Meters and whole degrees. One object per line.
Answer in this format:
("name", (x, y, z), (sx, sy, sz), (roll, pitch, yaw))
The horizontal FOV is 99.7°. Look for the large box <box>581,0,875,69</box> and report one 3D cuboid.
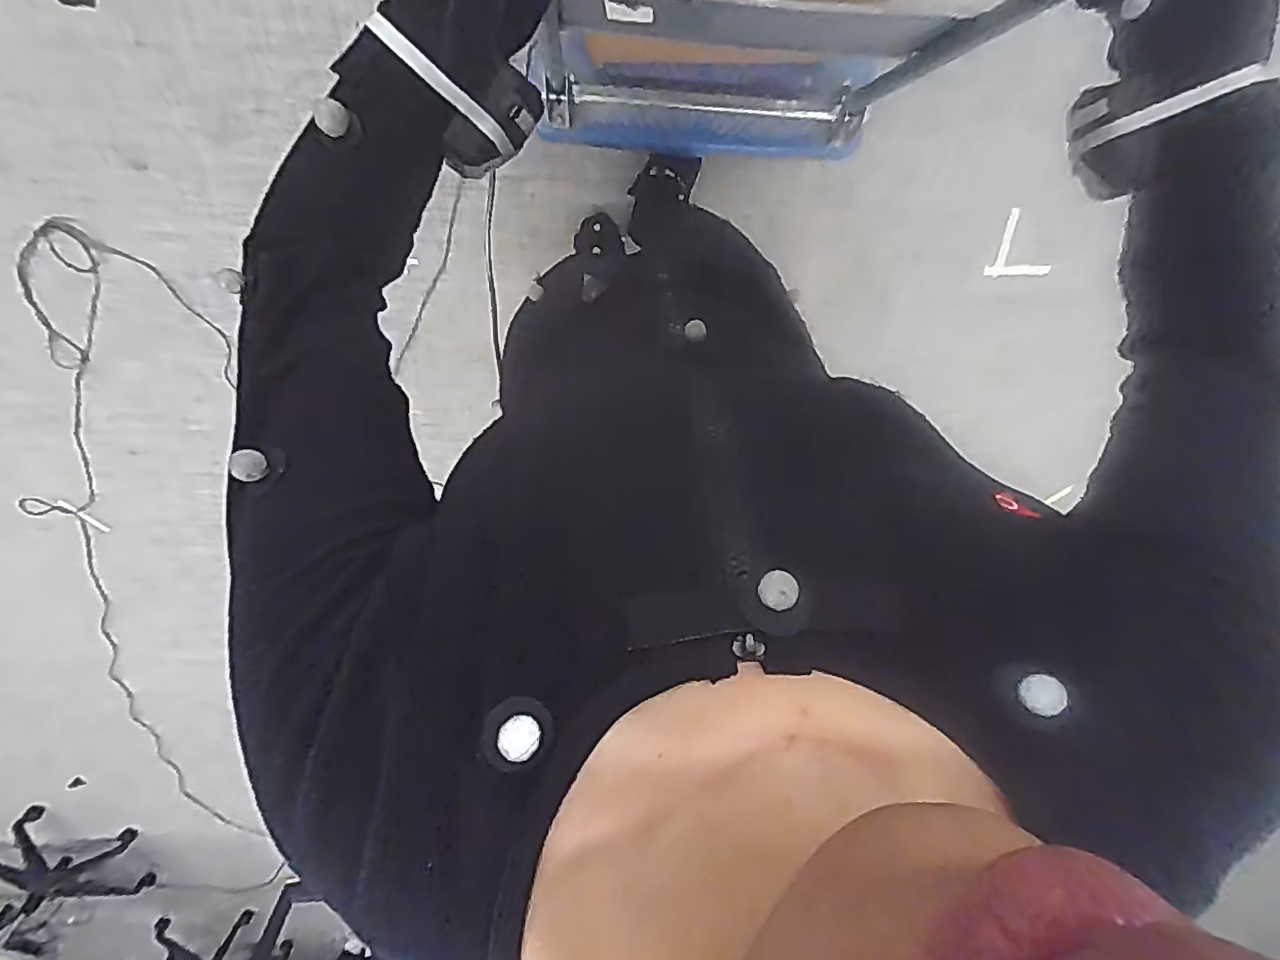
("large box", (0.113, -0.792, 0.720), (0.408, 0.320, 0.320), (-4, 110, -5))
